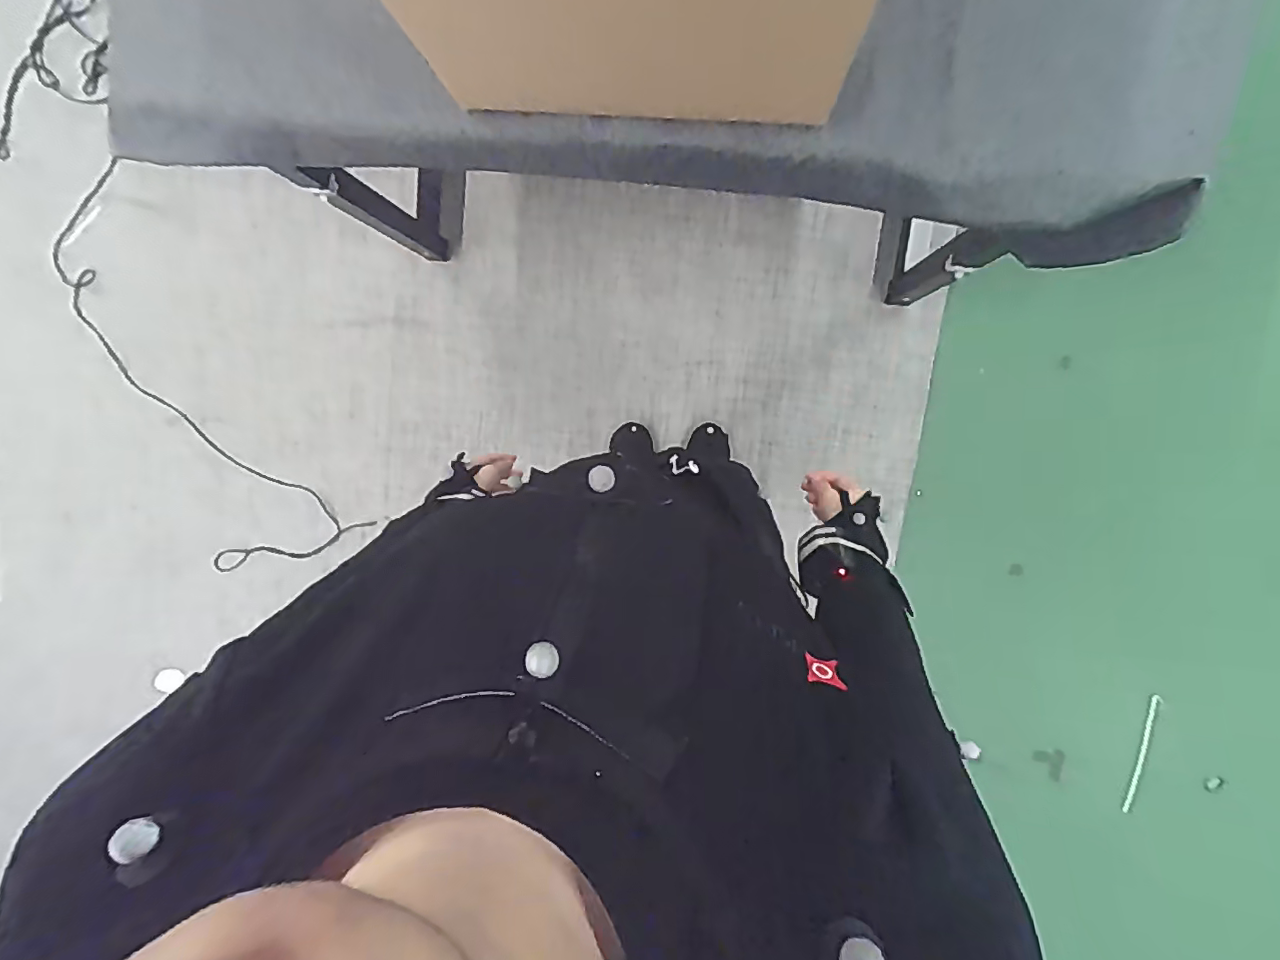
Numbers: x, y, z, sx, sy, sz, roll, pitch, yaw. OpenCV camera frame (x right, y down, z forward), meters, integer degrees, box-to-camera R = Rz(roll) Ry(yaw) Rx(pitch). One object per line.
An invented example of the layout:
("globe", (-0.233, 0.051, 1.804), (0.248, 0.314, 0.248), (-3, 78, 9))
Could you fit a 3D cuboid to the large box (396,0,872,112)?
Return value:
("large box", (-0.003, -0.539, 0.427), (0.408, 0.320, 0.320), (5, 96, 4))
